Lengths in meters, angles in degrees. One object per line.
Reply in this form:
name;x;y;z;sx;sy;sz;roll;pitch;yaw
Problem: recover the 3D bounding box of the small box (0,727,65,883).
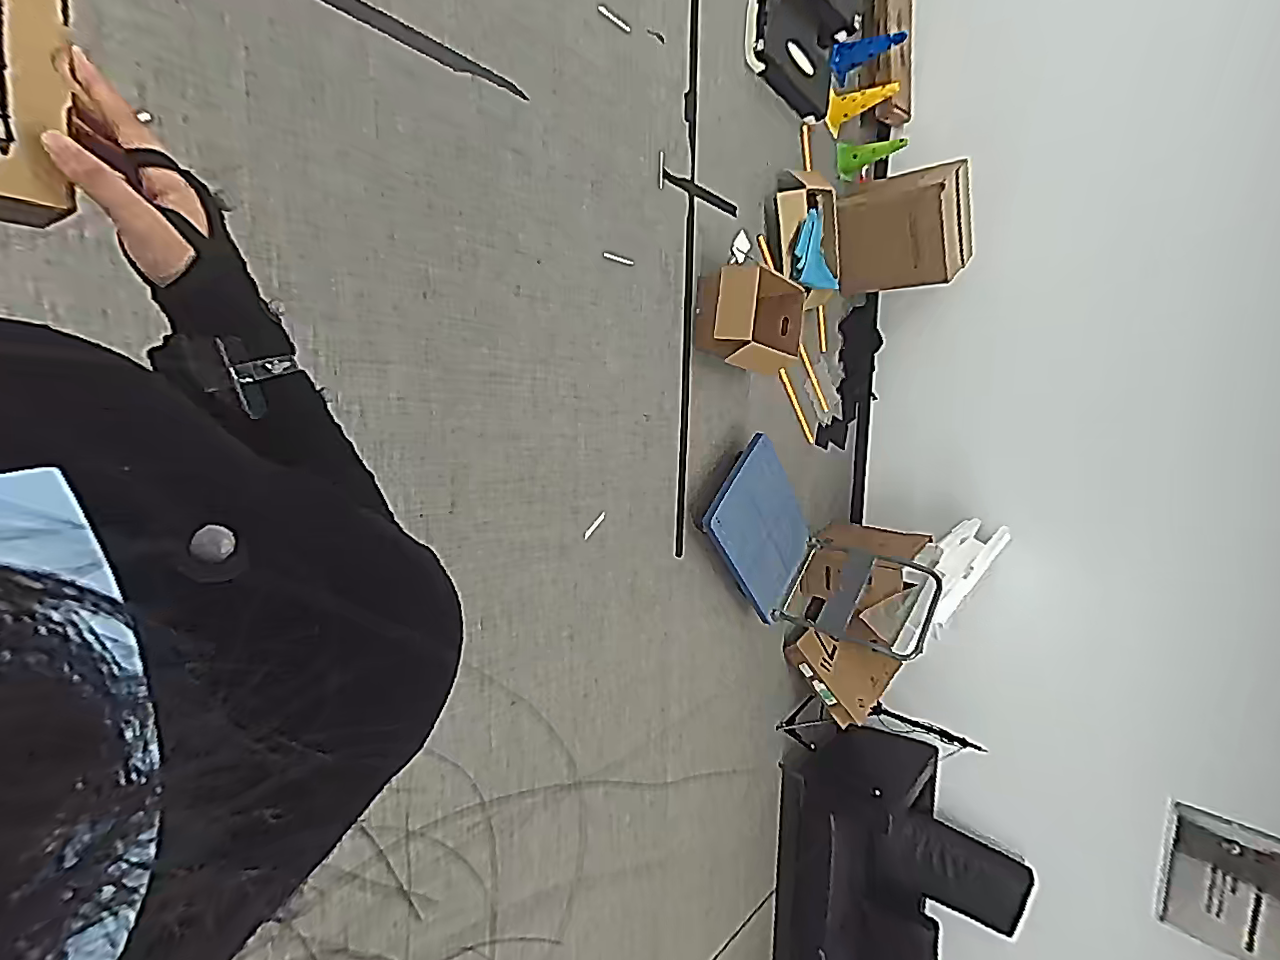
small box;-1.050;0.529;0.853;0.179;0.176;0.168;-14;106;-46
